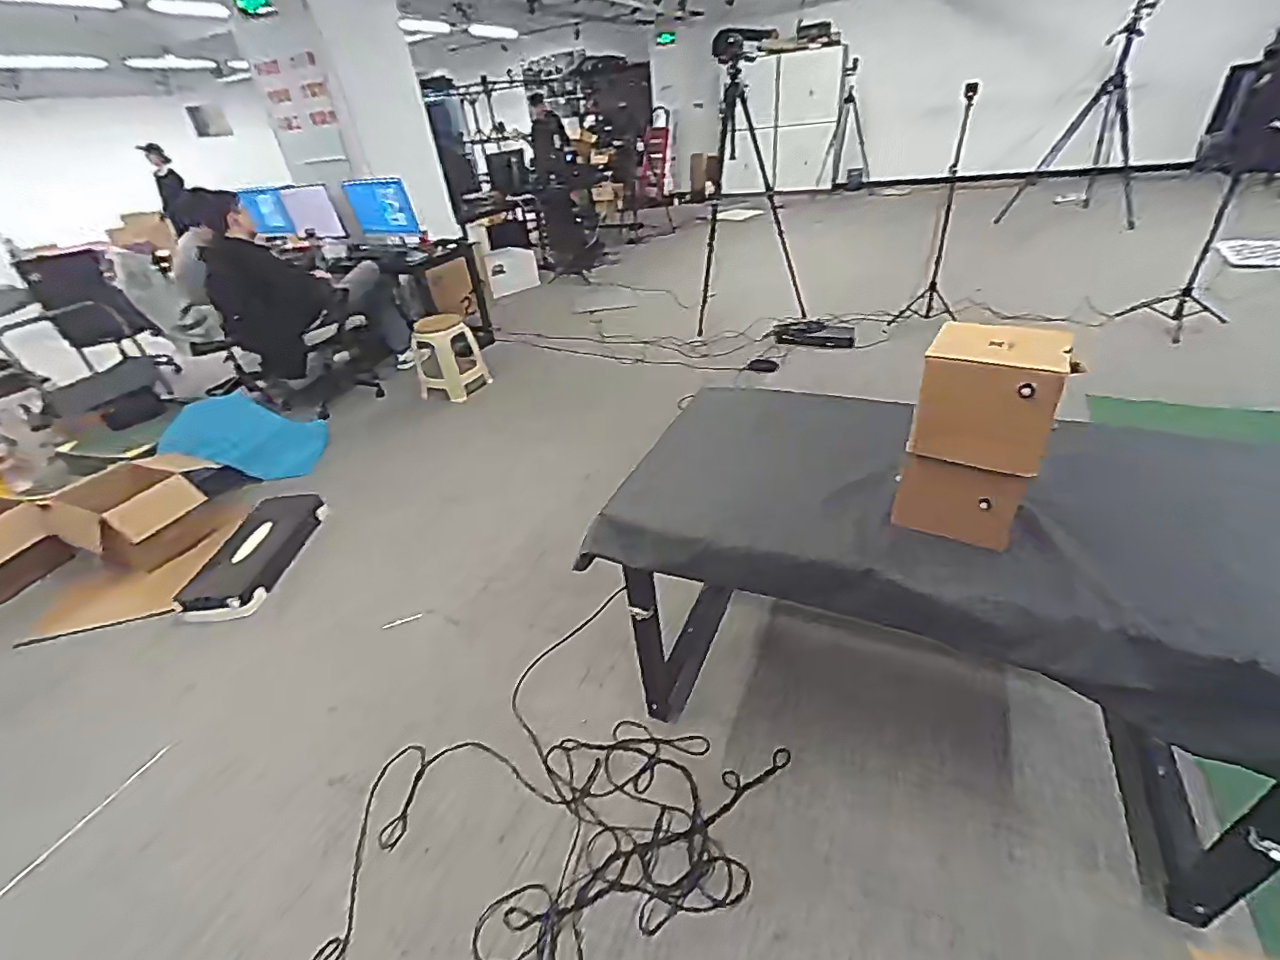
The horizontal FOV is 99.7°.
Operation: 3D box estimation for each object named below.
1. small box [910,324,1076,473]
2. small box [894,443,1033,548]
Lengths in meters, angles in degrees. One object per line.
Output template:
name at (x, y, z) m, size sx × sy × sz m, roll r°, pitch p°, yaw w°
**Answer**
small box at (0.538, -0.129, 0.837) m, size 0.179 × 0.176 × 0.168 m, roll 17°, pitch 40°, yaw 31°
small box at (0.563, -0.006, 0.942) m, size 0.179 × 0.176 × 0.168 m, roll 15°, pitch 39°, yaw 31°
